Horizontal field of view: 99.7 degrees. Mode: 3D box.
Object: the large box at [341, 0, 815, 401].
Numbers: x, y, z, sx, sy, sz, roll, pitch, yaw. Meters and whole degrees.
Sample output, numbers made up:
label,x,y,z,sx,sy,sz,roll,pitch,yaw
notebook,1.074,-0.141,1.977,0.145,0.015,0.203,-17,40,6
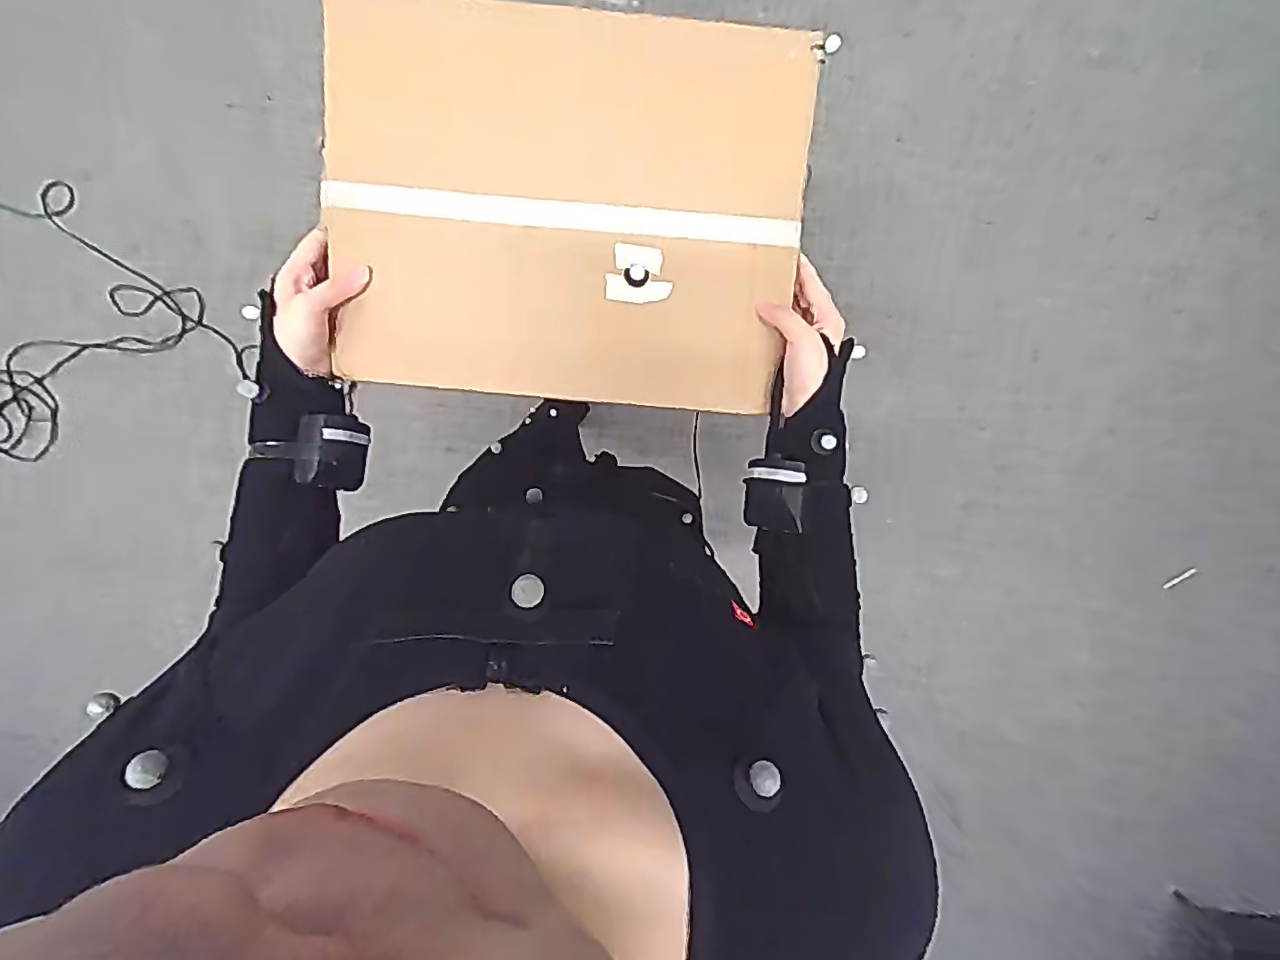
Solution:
label,x,y,z,sx,sy,sz,roll,pitch,yaw
large box,-0.064,-0.261,0.621,0.408,0.320,0.320,4,101,-2
